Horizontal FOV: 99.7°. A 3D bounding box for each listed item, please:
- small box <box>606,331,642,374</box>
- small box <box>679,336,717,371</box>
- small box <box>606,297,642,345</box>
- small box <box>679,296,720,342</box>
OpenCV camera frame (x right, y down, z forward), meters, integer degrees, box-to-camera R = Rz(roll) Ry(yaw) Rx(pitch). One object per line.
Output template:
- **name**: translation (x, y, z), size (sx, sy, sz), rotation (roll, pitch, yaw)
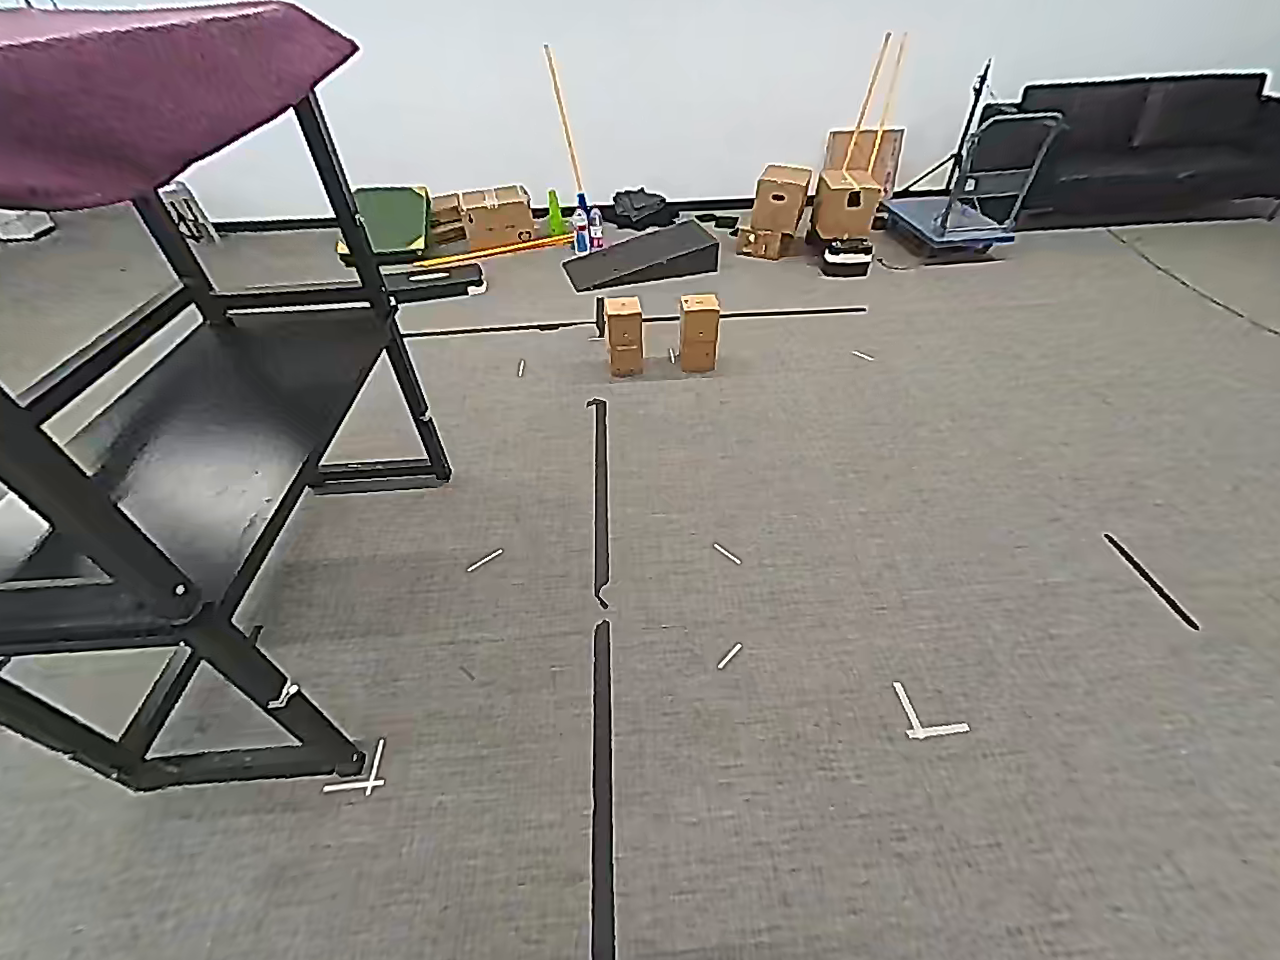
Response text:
- **small box**: translation (-0.080, -0.657, 2.777), size (0.168, 0.176, 0.179), rotation (-7, 43, -6)
- **small box**: translation (0.294, -0.678, 2.795), size (0.179, 0.176, 0.168), rotation (-2, 43, 0)
- **small box**: translation (-0.081, -0.783, 2.670), size (0.168, 0.176, 0.179), rotation (-5, 44, -4)
- **small box**: translation (0.291, -0.799, 2.685), size (0.179, 0.176, 0.168), rotation (-2, 42, -2)
